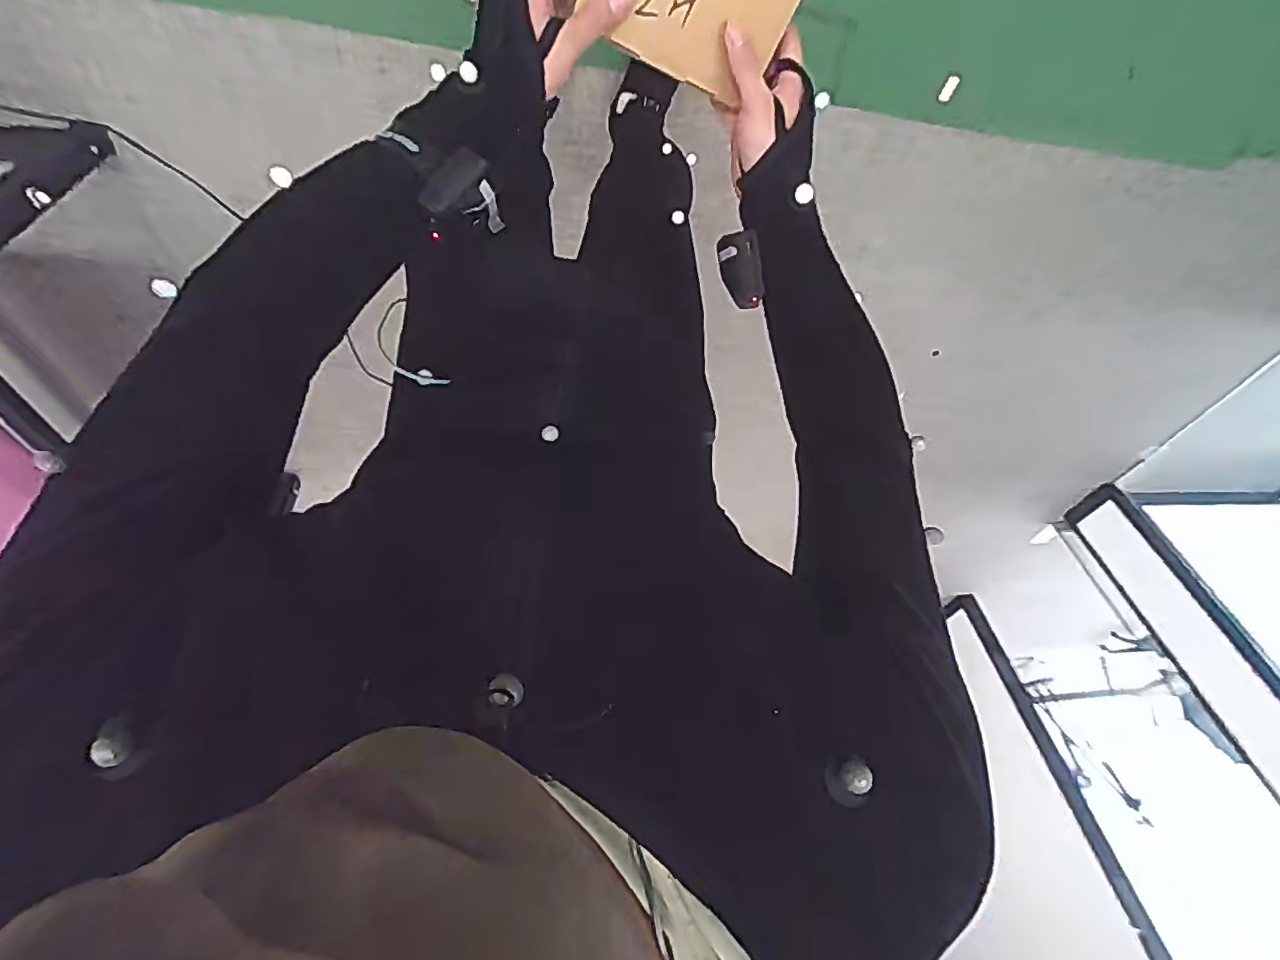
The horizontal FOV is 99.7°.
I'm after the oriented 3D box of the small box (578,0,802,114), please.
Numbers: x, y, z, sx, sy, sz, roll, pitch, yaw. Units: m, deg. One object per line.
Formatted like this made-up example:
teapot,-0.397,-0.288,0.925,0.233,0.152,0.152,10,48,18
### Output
small box,0.045,-0.459,0.449,0.168,0.176,0.179,11,137,-24
